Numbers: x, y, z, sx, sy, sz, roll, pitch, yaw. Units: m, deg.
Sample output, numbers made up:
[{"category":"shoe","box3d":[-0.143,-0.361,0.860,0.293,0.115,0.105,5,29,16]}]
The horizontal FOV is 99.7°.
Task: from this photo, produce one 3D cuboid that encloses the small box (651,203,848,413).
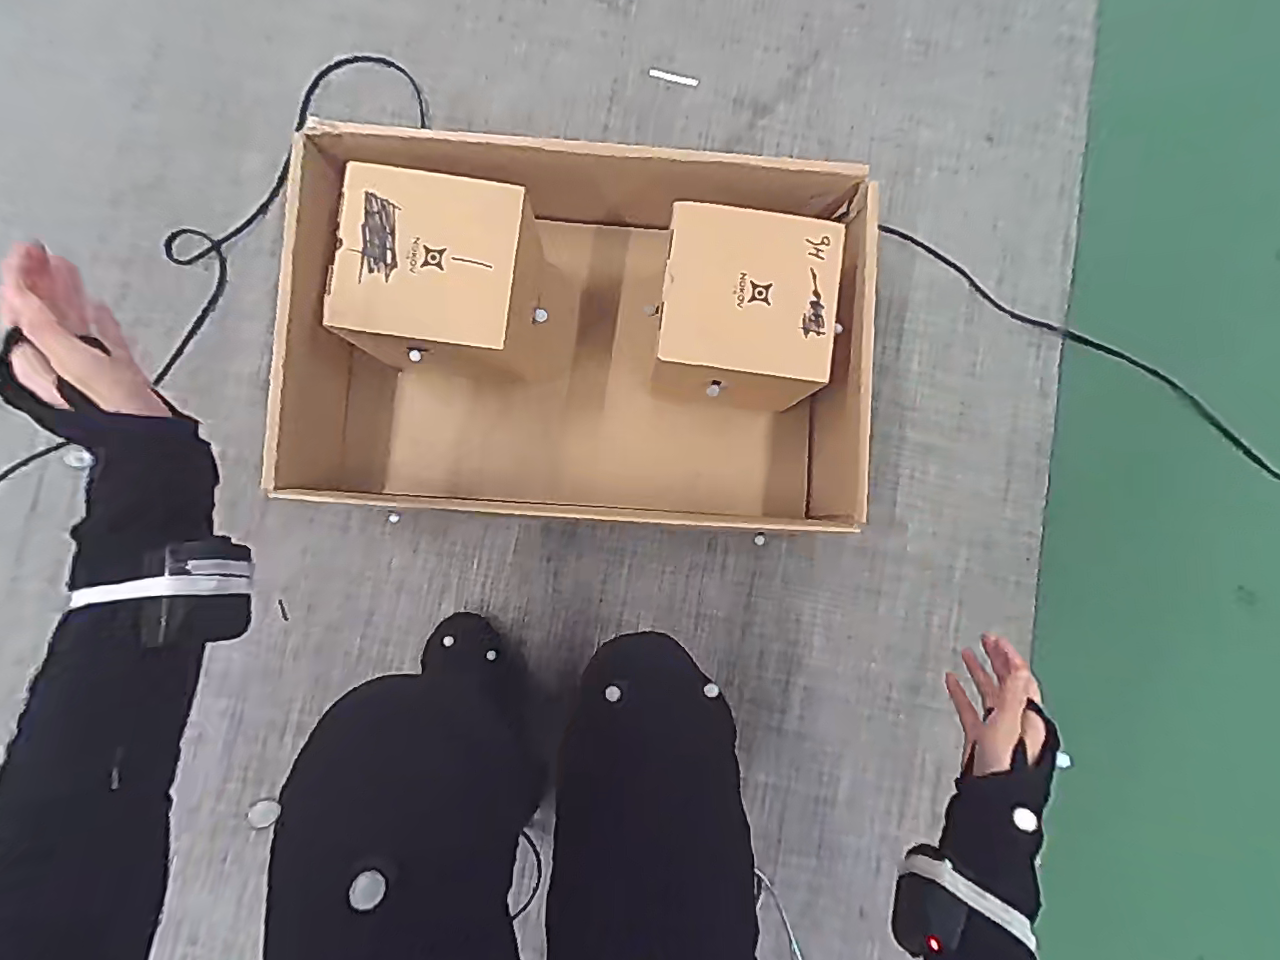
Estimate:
[{"category":"small box","box3d":[0.110,-0.179,0.615,0.179,0.176,0.168,9,86,-1]}]
